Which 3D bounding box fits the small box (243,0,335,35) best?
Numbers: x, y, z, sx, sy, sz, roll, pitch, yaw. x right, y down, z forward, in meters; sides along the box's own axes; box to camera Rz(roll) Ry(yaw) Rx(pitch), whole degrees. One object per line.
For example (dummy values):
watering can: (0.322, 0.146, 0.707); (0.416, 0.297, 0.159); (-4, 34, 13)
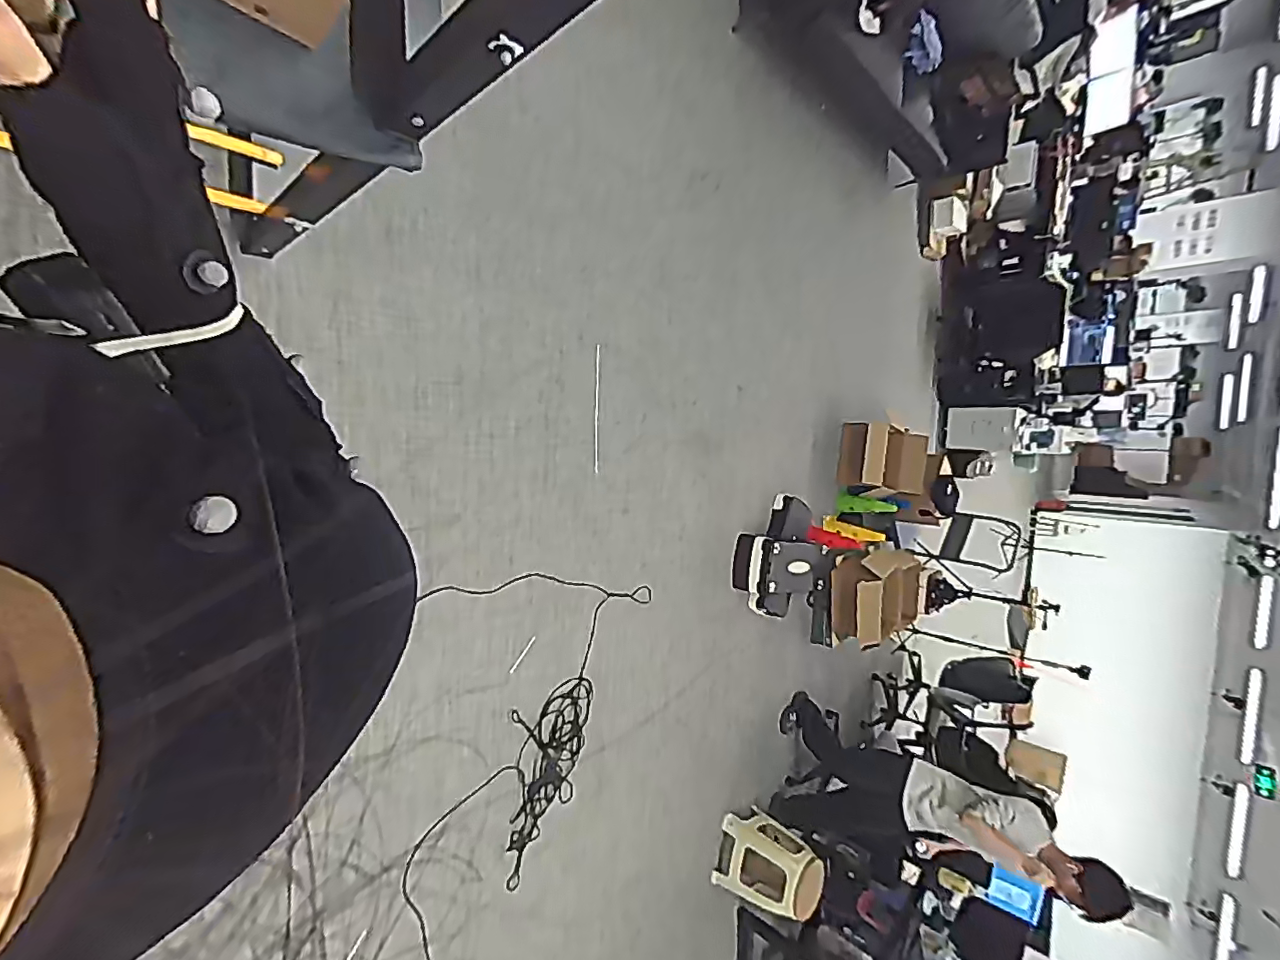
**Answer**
small box: (-0.395, -0.618, 0.551); (0.168, 0.176, 0.179); (1, 93, -48)
